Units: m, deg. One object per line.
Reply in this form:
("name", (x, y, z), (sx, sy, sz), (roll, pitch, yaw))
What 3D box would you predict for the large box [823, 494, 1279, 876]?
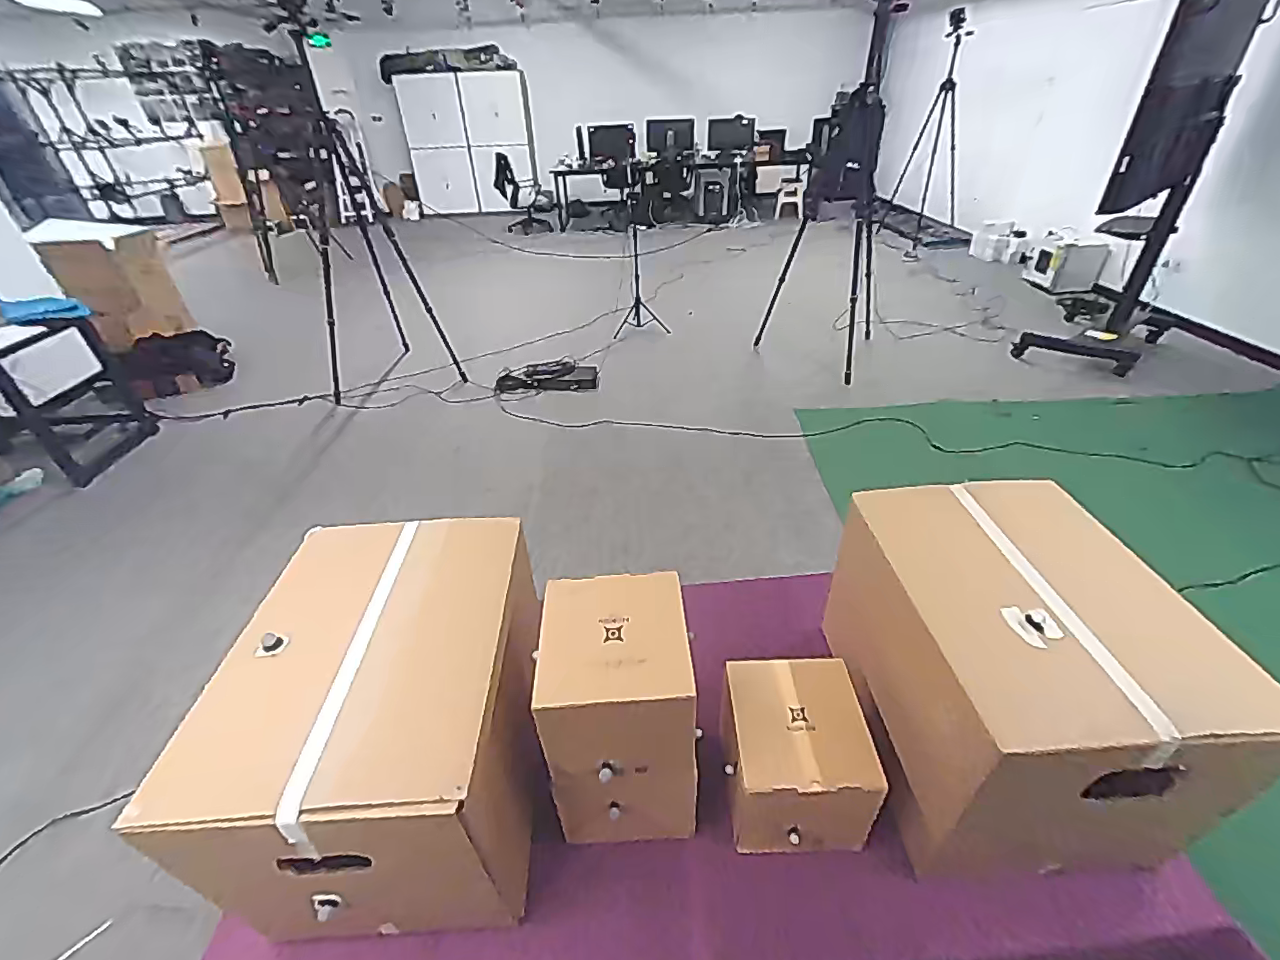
("large box", (0.491, 0.261, 0.757), (0.320, 0.320, 0.408), (-2, 36, 0))
